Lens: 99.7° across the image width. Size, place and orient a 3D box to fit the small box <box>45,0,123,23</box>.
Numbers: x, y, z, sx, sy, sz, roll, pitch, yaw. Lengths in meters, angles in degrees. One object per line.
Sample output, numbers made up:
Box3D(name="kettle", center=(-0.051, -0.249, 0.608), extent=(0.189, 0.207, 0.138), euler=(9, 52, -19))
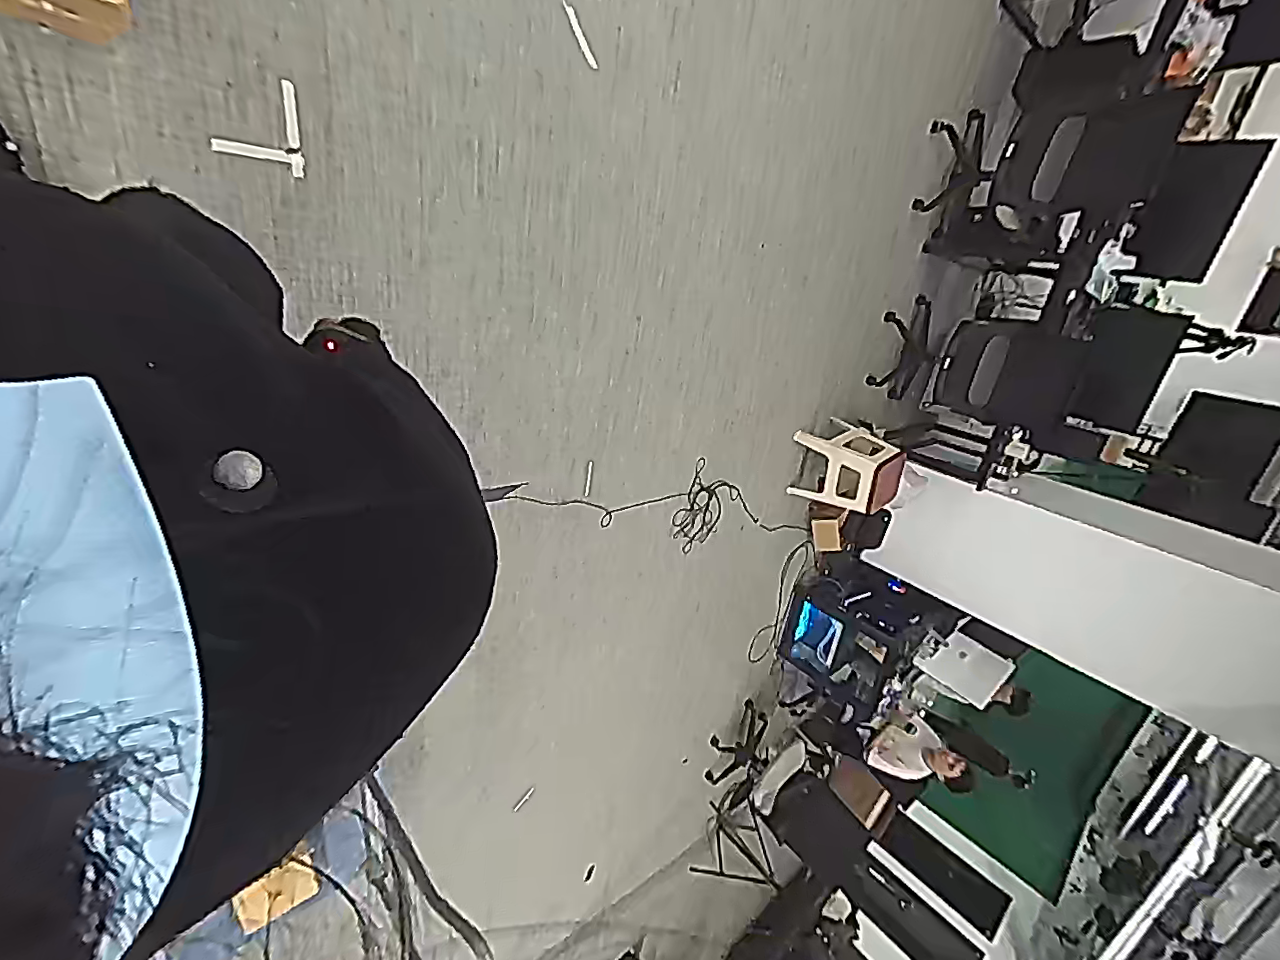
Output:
Box3D(name="small box", center=(-0.787, -0.741, 0.694), extent=(0.168, 0.176, 0.179), euler=(-5, 115, -42))

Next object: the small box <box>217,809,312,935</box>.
Box3D(name="small box", center=(-0.993, 1.026, 1.430), extent=(0.168, 0.176, 0.179), euler=(-16, 122, -38))
